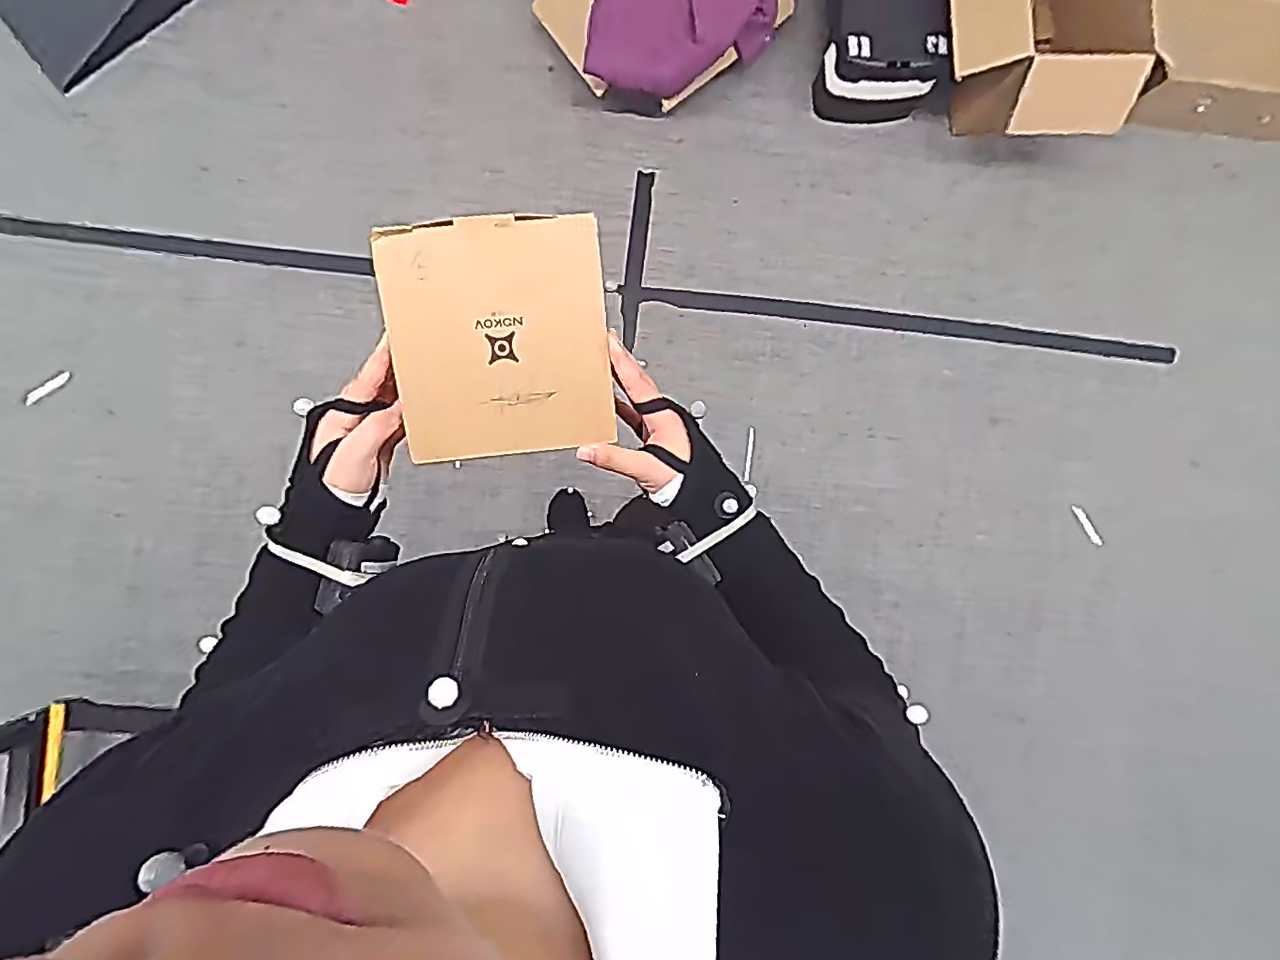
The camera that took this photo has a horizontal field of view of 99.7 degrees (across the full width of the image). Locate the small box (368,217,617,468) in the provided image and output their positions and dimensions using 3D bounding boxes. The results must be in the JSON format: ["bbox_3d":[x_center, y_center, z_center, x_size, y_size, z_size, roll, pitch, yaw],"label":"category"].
[{"bbox_3d":[-0.115,-0.118,0.485,0.168,0.176,0.179,-7,104,-4],"label":"small box"}]
